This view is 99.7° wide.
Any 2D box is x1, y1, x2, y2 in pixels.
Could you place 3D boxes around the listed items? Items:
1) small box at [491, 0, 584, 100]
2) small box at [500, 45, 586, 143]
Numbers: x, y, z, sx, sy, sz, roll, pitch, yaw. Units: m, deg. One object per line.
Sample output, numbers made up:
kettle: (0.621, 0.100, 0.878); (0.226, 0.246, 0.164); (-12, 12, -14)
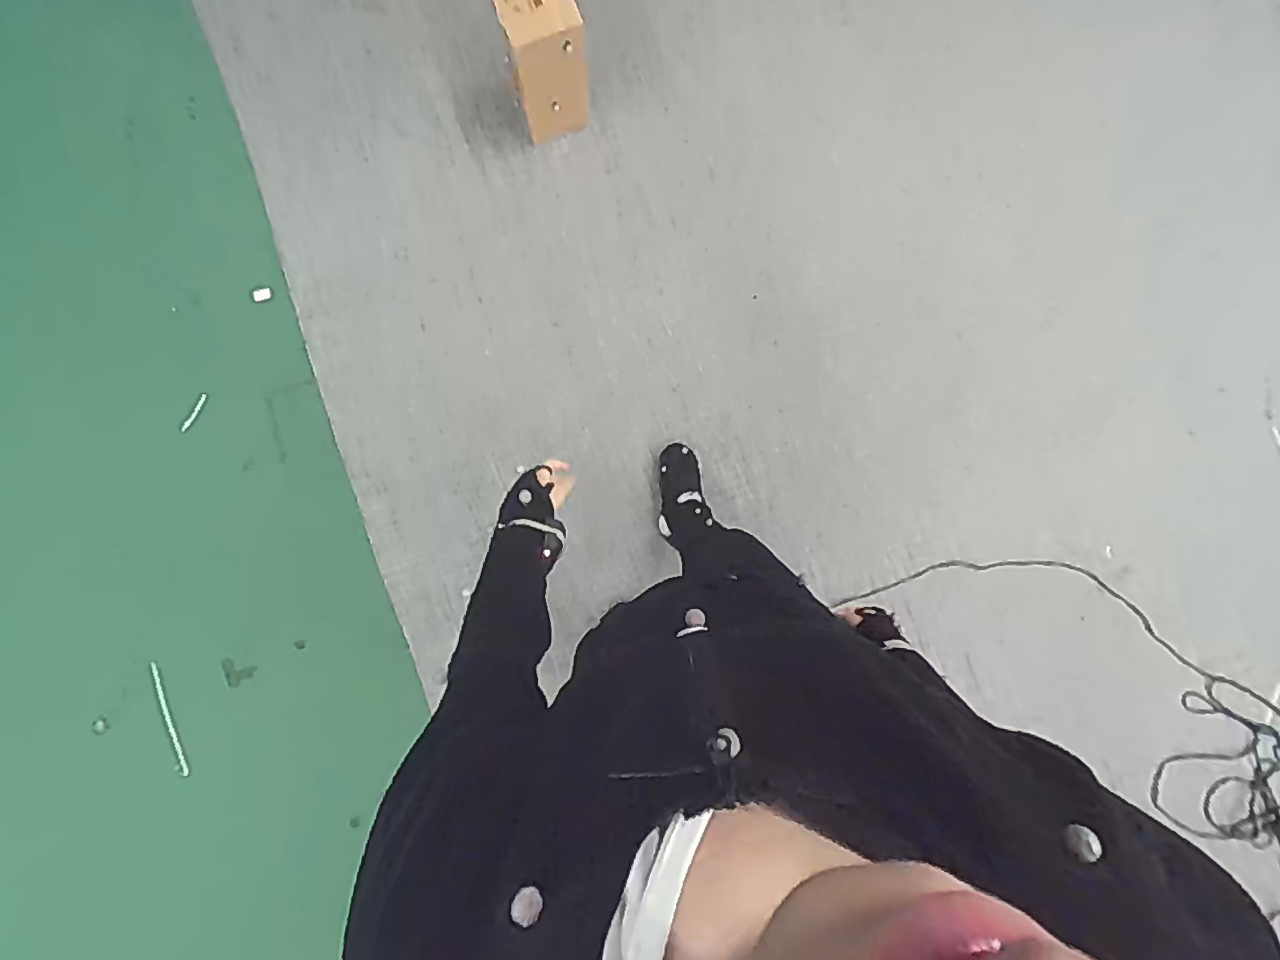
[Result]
small box: (-0.240, -1.068, 1.295); (0.179, 0.176, 0.168); (-22, 88, -2)
small box: (-0.252, -1.061, 1.460); (0.179, 0.176, 0.168); (-23, 89, -1)
